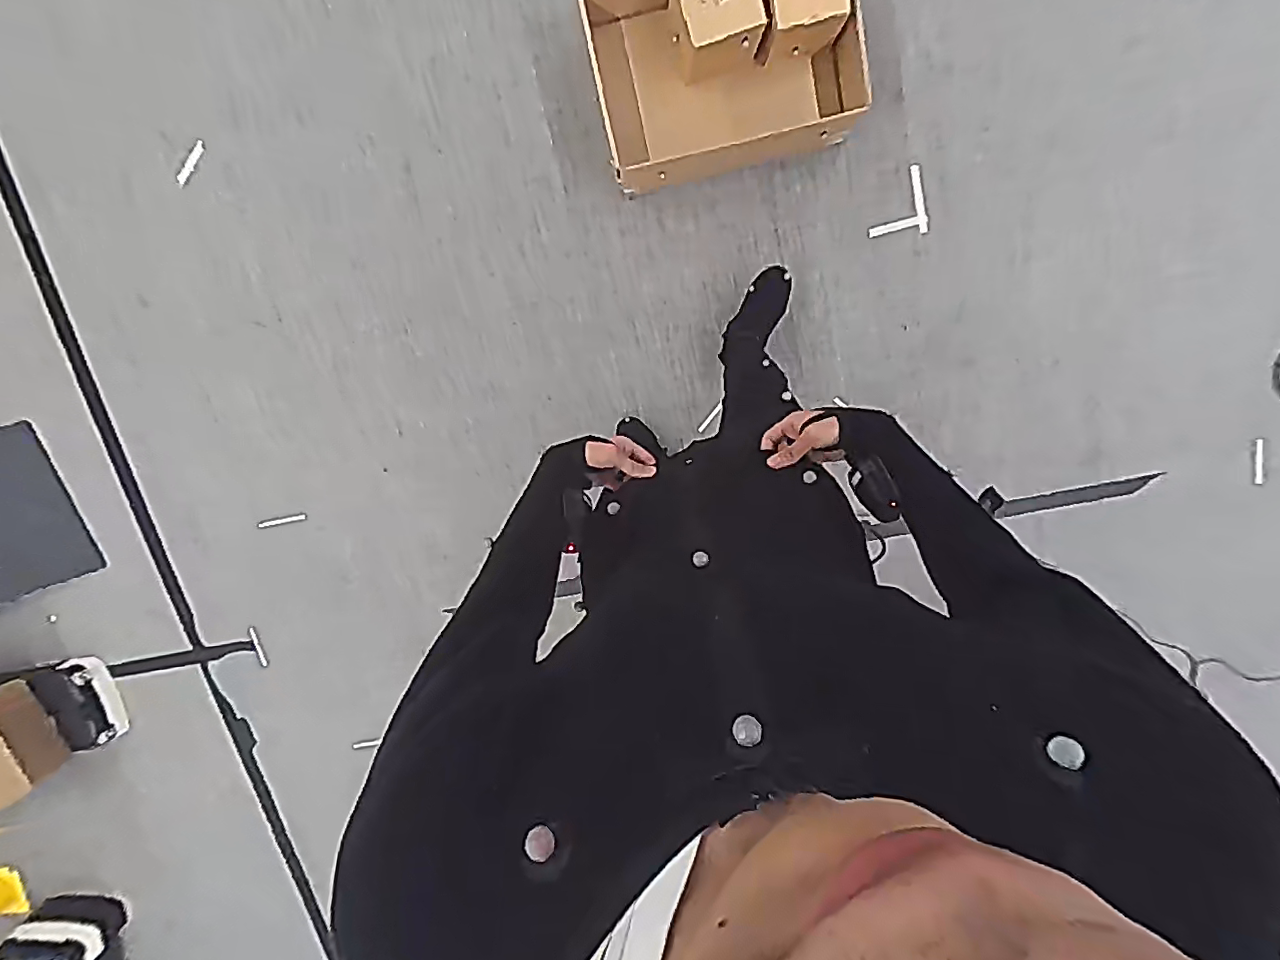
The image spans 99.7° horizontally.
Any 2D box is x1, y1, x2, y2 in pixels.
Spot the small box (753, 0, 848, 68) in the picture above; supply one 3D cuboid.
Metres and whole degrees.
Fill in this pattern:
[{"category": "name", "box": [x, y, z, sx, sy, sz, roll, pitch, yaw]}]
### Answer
[{"category": "small box", "box": [0.367, -1.115, 1.261, 0.168, 0.176, 0.179, -12, 104, 4]}]
